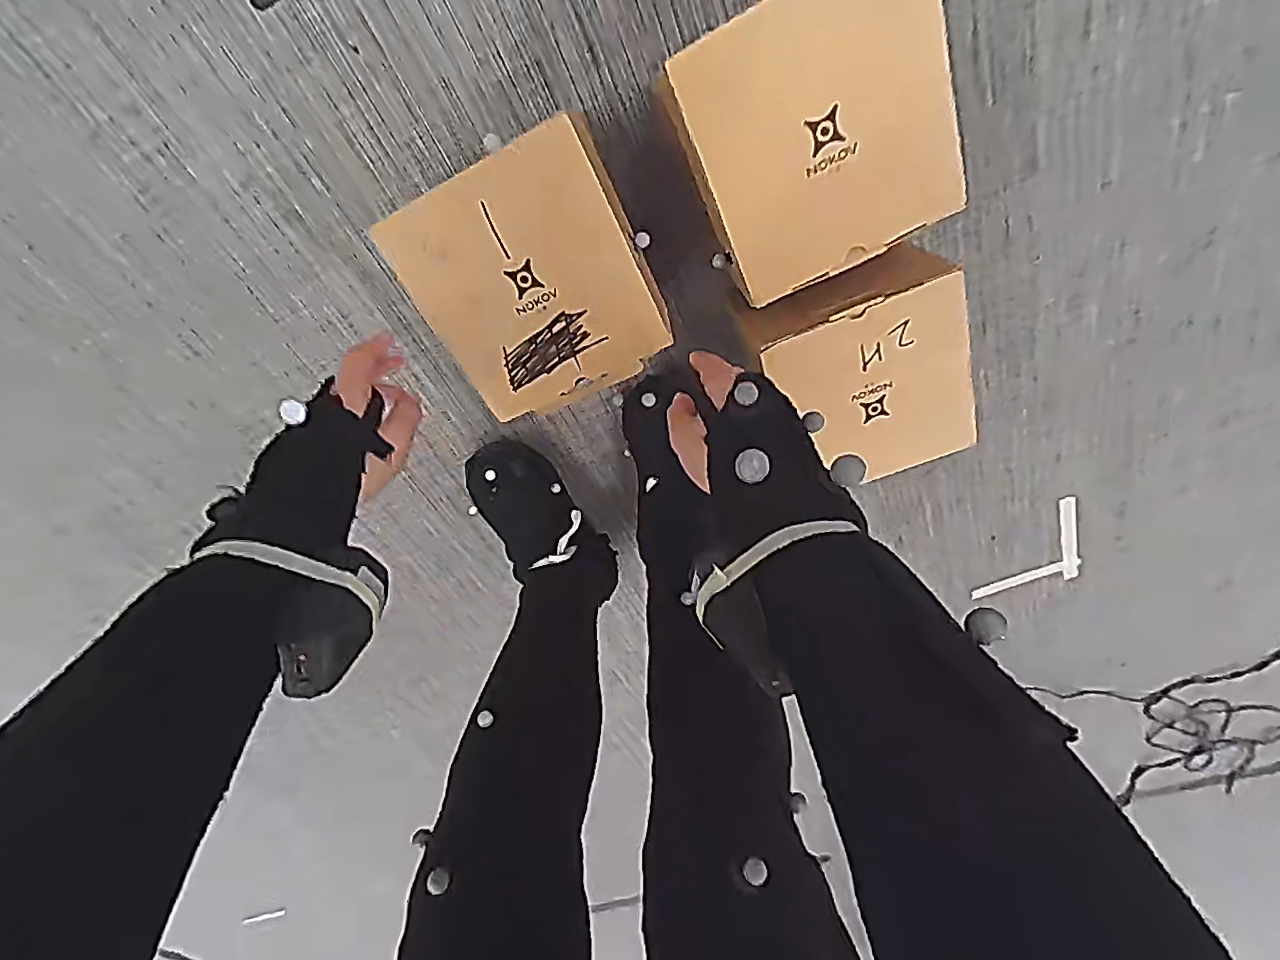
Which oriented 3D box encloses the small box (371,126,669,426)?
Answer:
[{"bbox_3d":[-0.084,-0.183,0.474,0.168,0.176,0.179,-22,121,12],"label":"small box"}]
